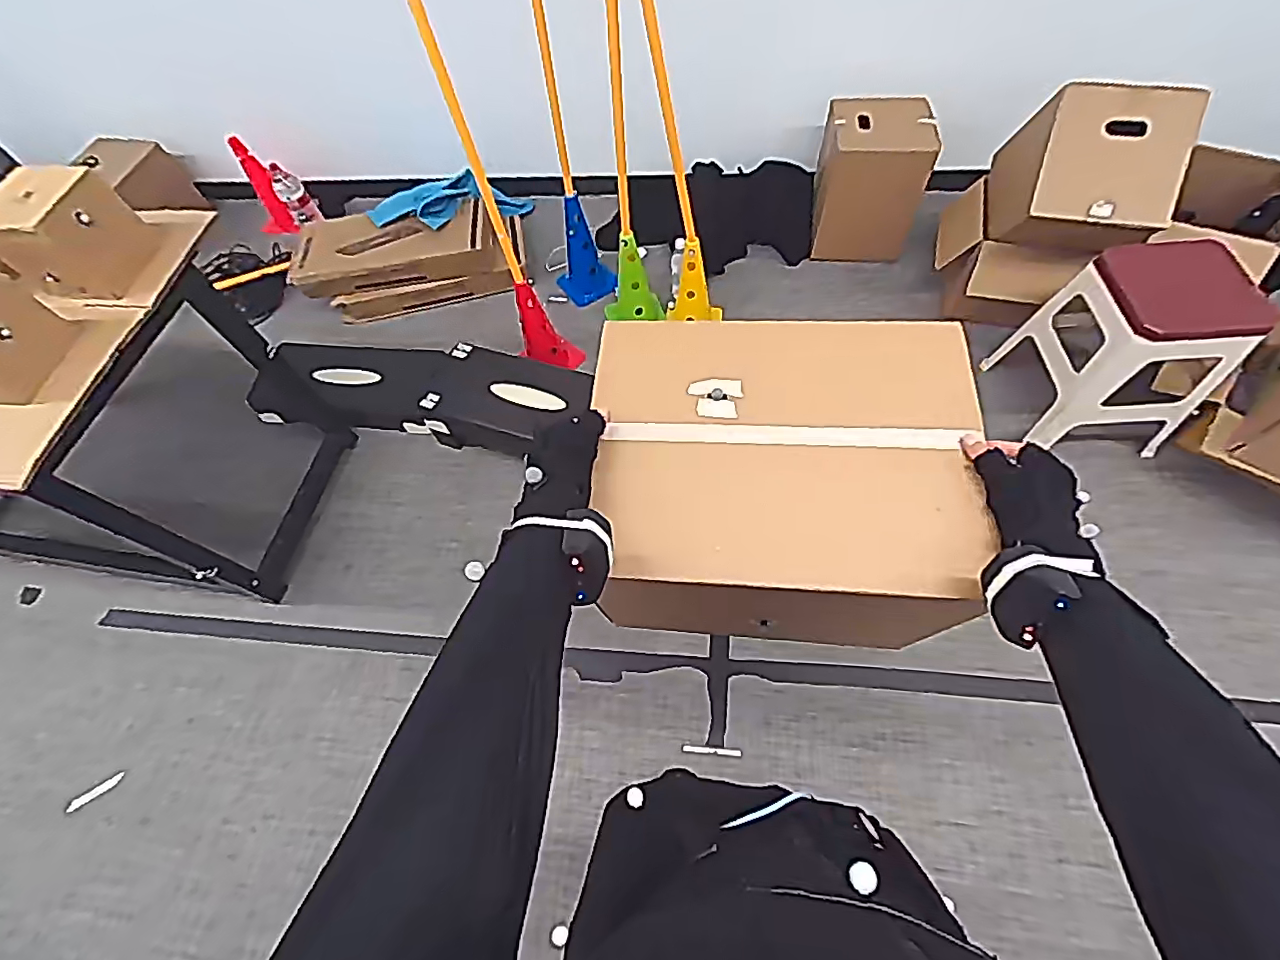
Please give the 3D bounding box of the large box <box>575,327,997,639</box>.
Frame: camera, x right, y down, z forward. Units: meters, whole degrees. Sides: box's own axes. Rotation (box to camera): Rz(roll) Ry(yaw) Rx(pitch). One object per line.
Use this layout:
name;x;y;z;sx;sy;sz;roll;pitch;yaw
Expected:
large box;0.162;0.022;0.710;0.408;0.320;0.320;2;65;9
